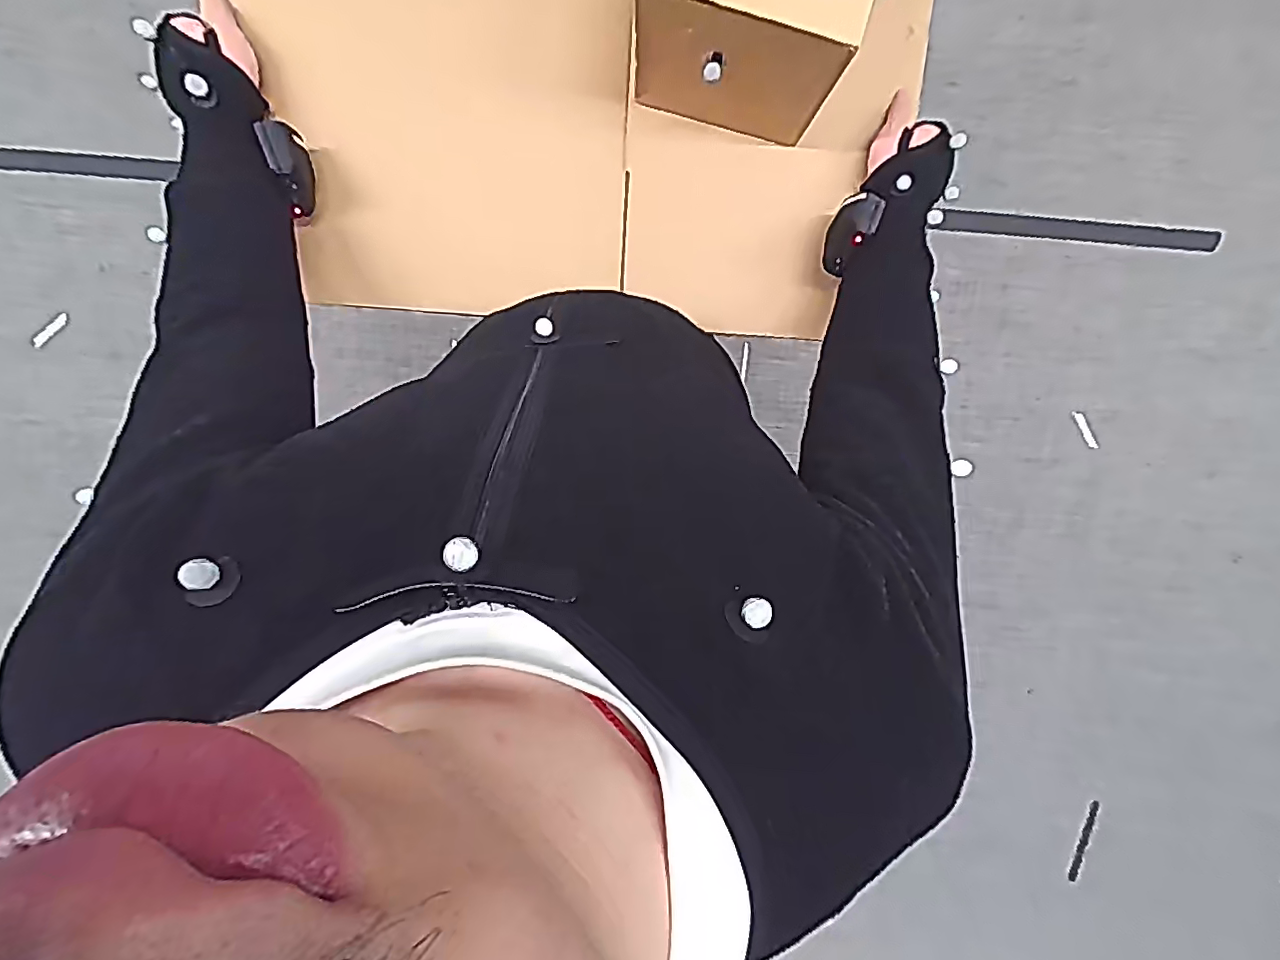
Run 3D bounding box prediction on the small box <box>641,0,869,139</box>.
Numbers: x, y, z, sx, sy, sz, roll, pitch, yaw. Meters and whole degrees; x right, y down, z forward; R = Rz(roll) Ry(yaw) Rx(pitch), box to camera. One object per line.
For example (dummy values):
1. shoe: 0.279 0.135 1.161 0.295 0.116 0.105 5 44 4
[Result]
1. small box: 0.100 -0.436 0.474 0.179 0.176 0.168 14 99 -2
